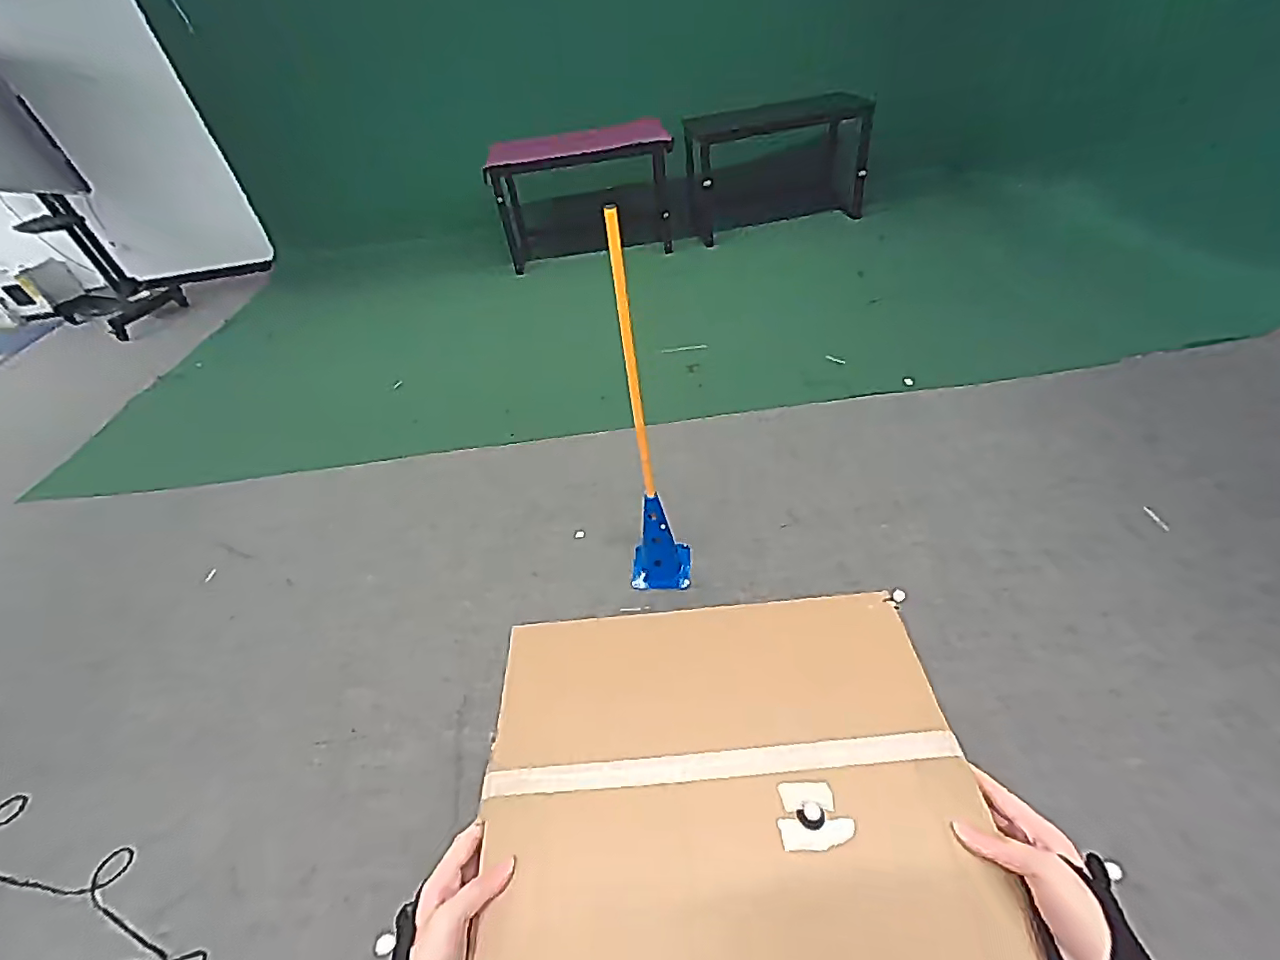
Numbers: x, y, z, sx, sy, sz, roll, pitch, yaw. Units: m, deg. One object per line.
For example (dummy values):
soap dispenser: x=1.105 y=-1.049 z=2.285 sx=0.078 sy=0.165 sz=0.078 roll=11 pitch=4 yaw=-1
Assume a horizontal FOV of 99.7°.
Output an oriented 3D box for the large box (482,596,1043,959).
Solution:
large box: x=0.083 y=0.357 z=0.580 sx=0.408 sy=0.320 sz=0.320 roll=-5 pitch=45 yaw=1

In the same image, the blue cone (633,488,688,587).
blue cone: x=0.054 y=0.182 z=1.814 sx=0.193 sy=0.380 sz=0.192 roll=-1 pitch=42 yaw=9
